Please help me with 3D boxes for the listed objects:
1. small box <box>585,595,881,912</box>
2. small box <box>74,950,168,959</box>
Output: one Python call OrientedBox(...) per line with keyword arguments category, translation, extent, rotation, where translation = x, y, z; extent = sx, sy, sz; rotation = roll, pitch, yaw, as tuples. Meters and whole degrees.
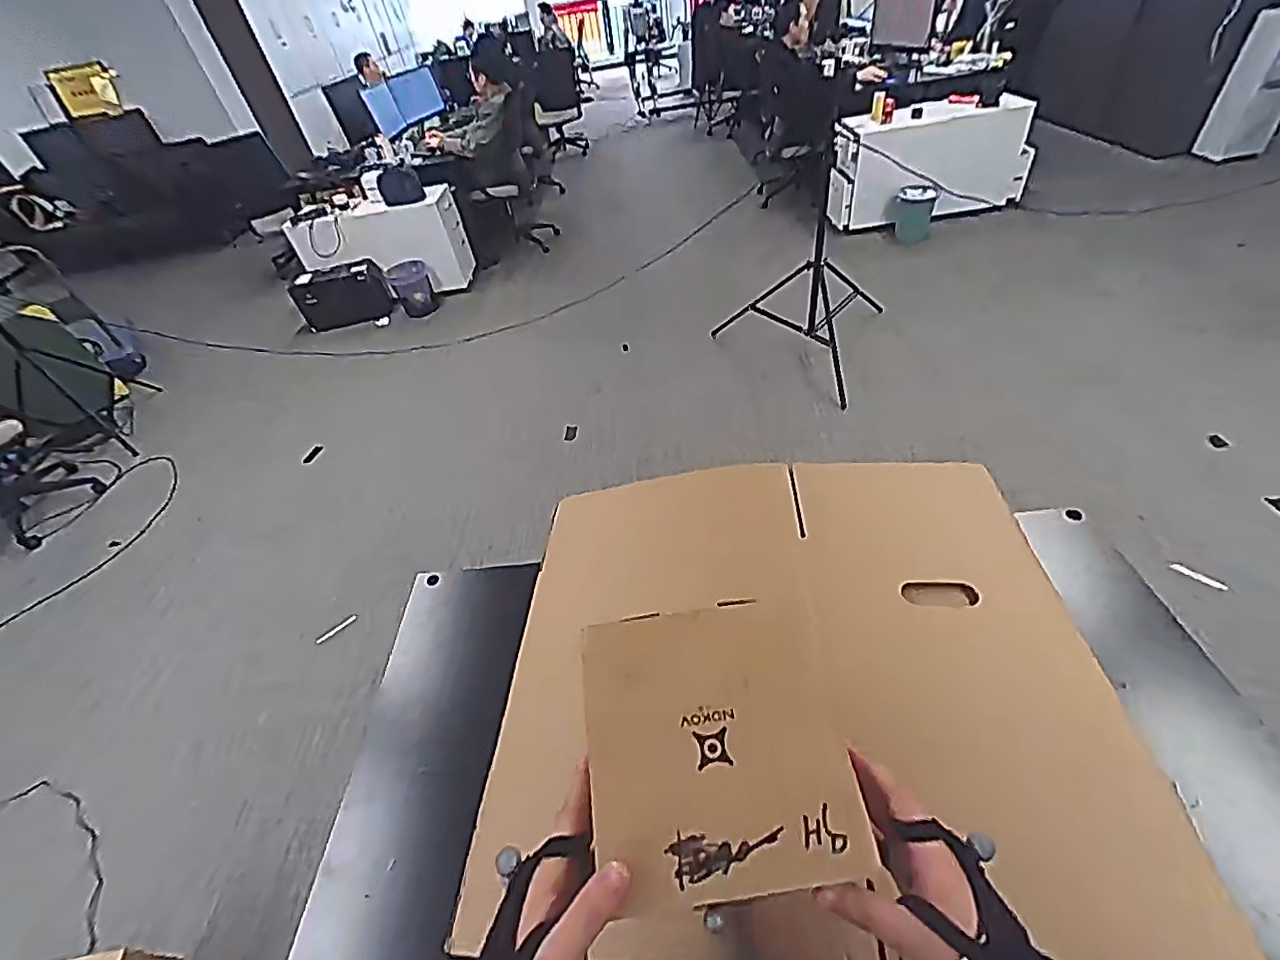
OrientedBox(category="small box", translation=(0.055, 0.213, 0.420), extent=(0.168, 0.176, 0.179), rotation=(-9, 54, 1))
OrientedBox(category="small box", translation=(-1.011, 1.004, 0.997), extent=(0.168, 0.176, 0.179), rotation=(-11, 42, -1))
